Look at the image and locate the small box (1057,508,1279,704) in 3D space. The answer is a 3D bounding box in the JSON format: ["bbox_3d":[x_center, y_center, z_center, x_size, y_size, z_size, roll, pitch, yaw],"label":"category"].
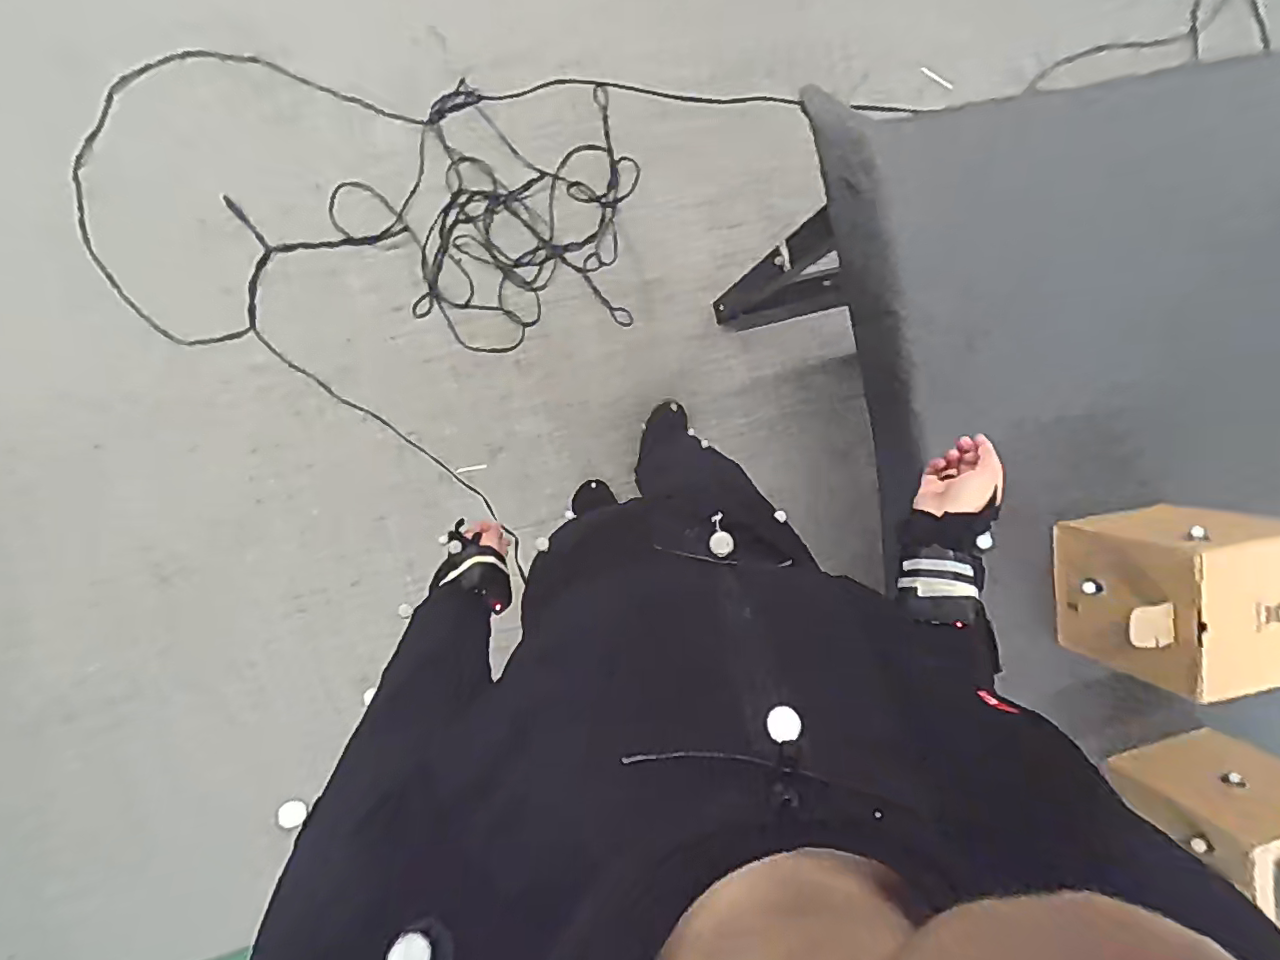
[{"bbox_3d":[0.644,0.134,0.642,0.179,0.176,0.168,-8,97,-7],"label":"small box"}]
